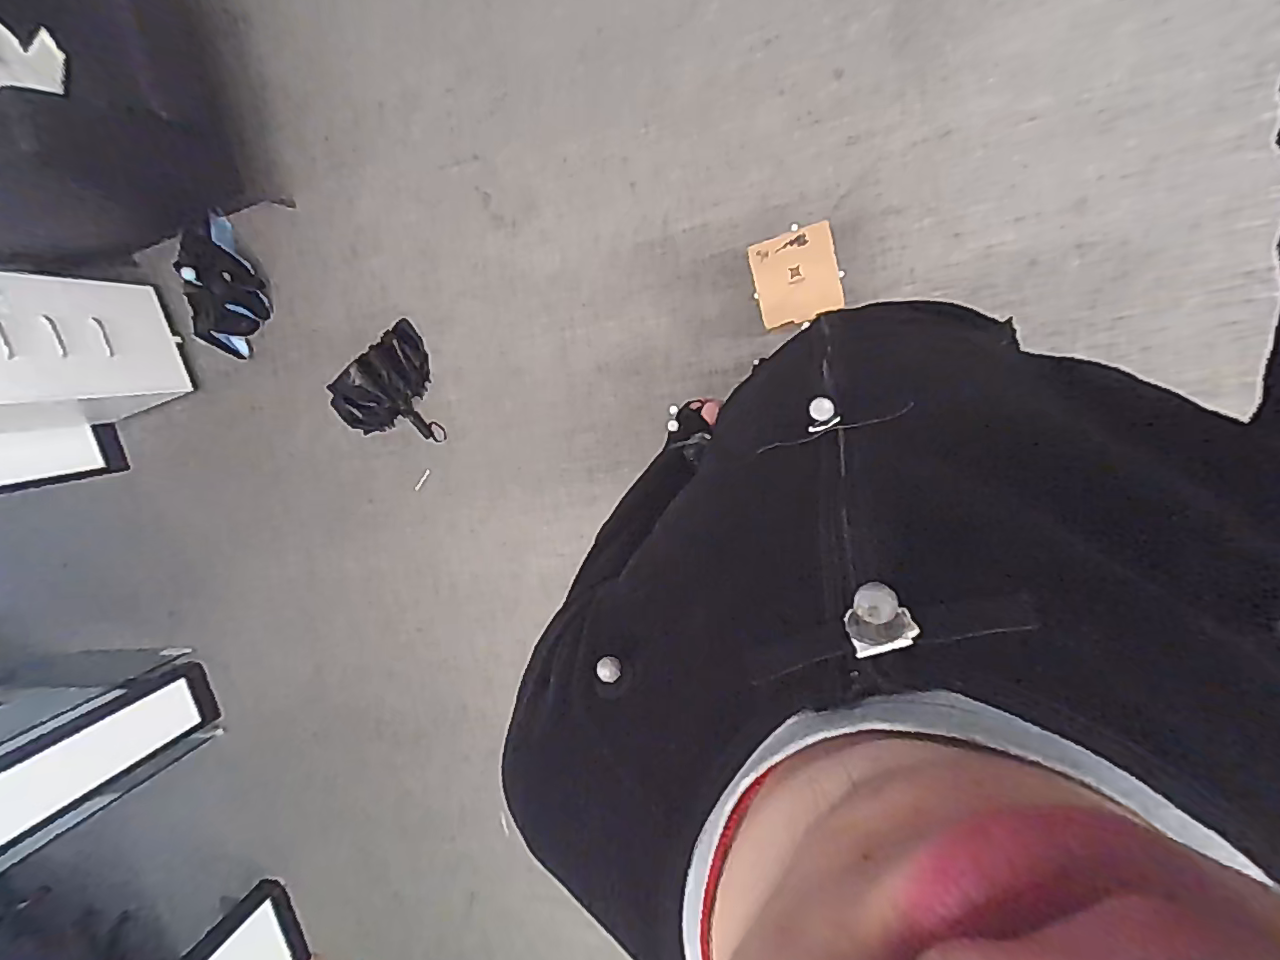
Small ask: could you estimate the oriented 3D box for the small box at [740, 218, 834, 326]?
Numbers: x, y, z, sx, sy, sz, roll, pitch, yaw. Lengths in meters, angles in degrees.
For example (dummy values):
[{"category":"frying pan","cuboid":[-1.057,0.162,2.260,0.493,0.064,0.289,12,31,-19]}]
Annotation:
[{"category":"small box","cuboid":[0.327,-0.448,1.190,0.168,0.176,0.179,-11,101,20]}]
